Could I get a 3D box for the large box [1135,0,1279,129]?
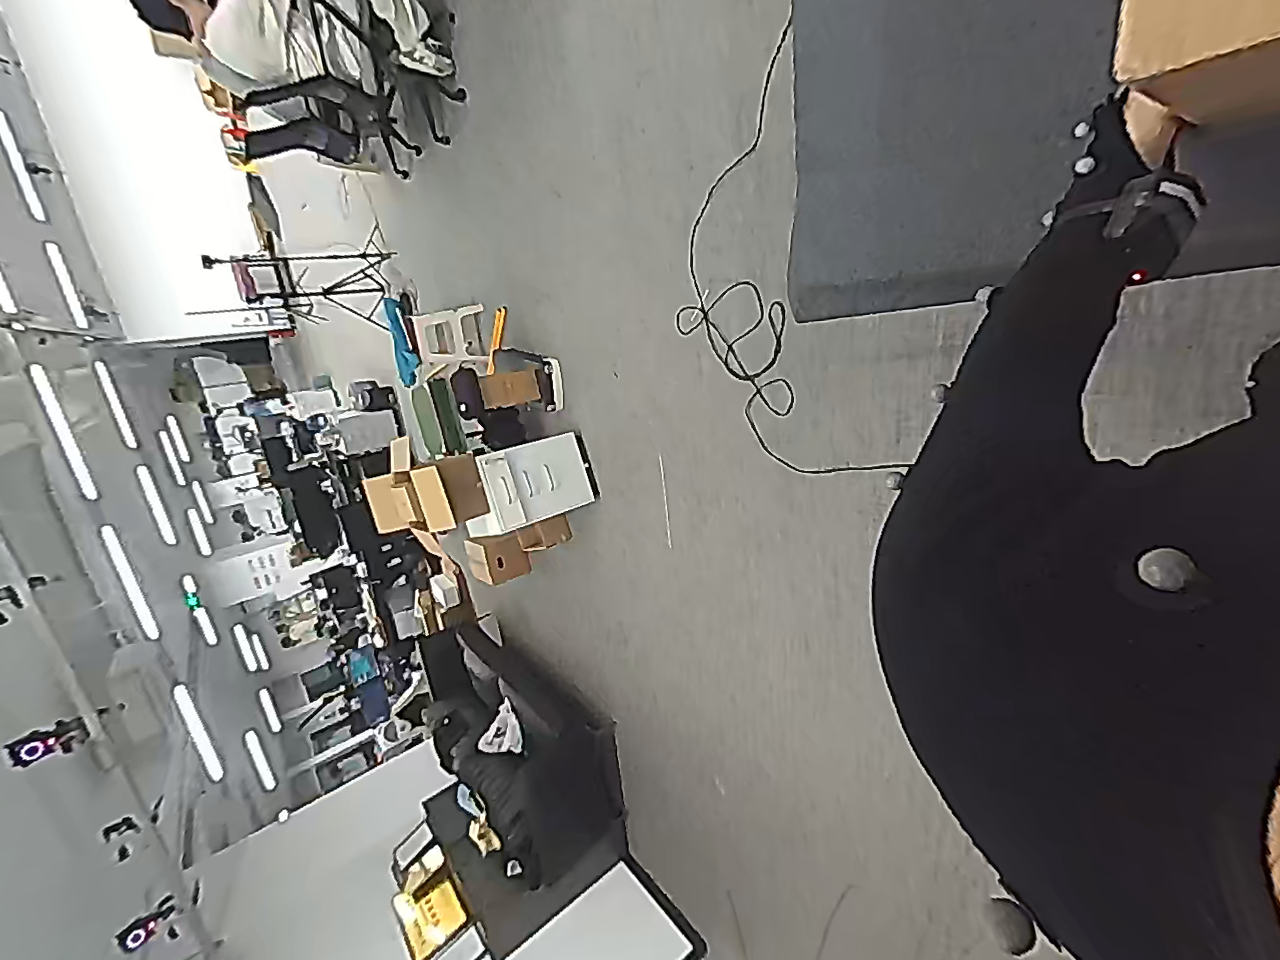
[{"bbox_3d":[0.506,-0.391,0.208,0.408,0.320,0.320,14,117,50],"label":"large box"}]
